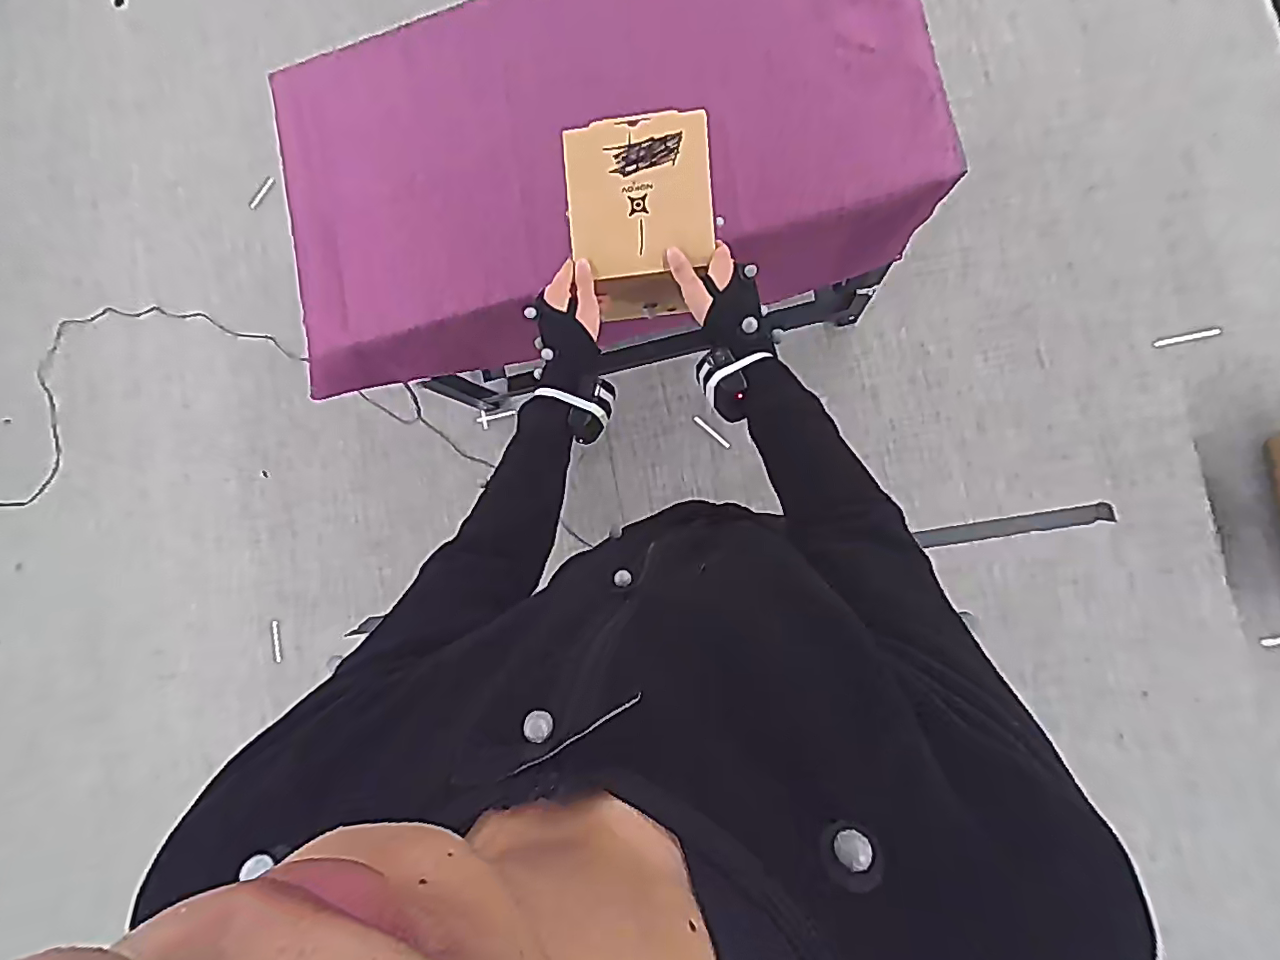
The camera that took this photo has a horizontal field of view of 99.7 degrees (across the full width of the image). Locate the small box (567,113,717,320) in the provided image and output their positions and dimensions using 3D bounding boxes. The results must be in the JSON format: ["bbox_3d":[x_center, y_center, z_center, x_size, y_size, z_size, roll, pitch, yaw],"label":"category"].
[{"bbox_3d":[0.009,-0.324,0.697,0.168,0.176,0.179,-5,91,7],"label":"small box"}]
